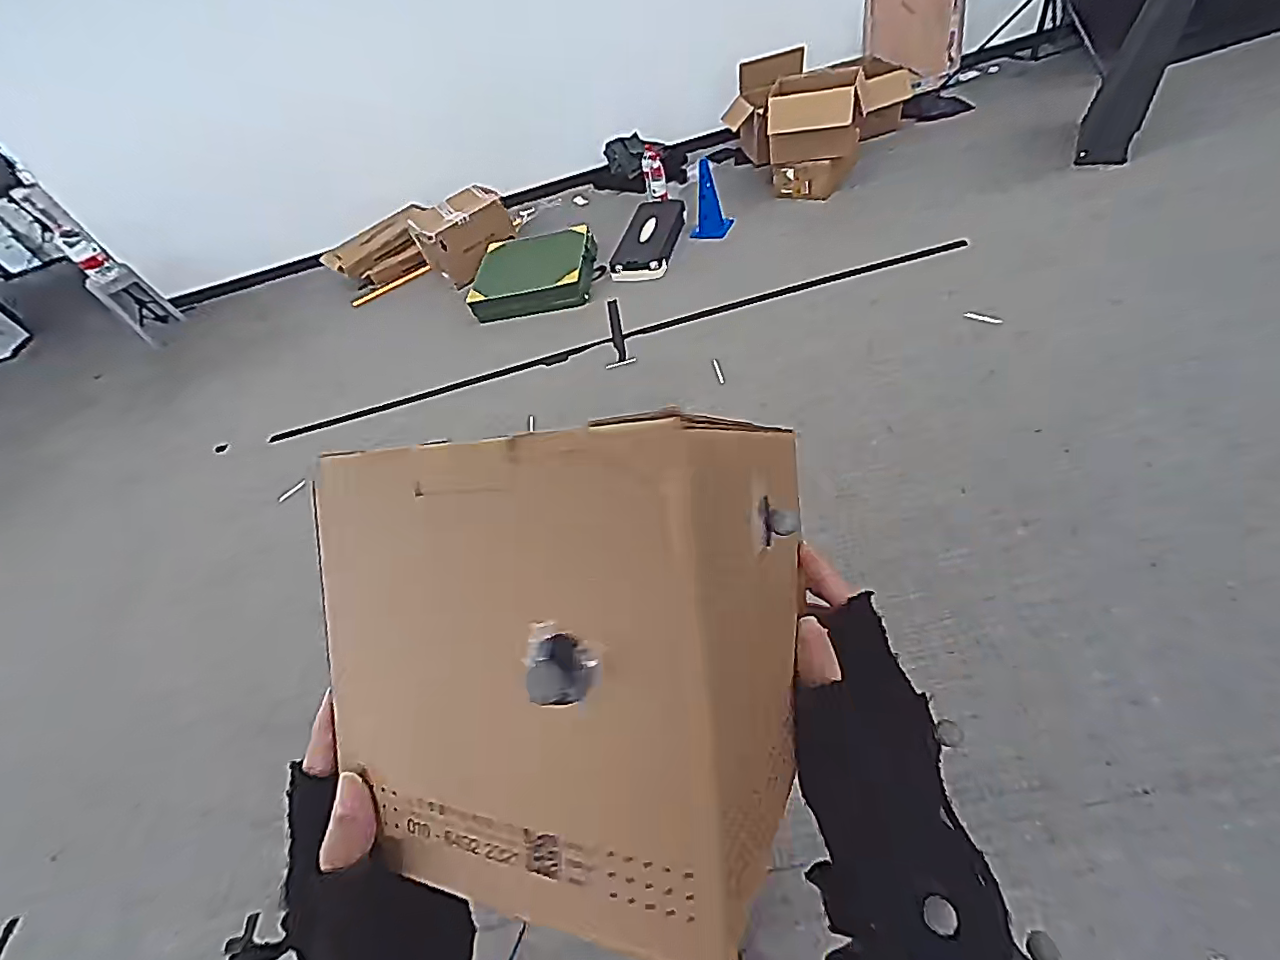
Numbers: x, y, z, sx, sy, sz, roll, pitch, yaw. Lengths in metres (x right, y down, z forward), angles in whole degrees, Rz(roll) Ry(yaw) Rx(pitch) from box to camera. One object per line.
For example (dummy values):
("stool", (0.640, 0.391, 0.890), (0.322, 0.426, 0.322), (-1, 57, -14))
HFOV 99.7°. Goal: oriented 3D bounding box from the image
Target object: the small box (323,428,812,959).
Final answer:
("small box", (-0.017, 0.069, 0.267), (0.168, 0.179, 0.176), (-4, 92, 29))
